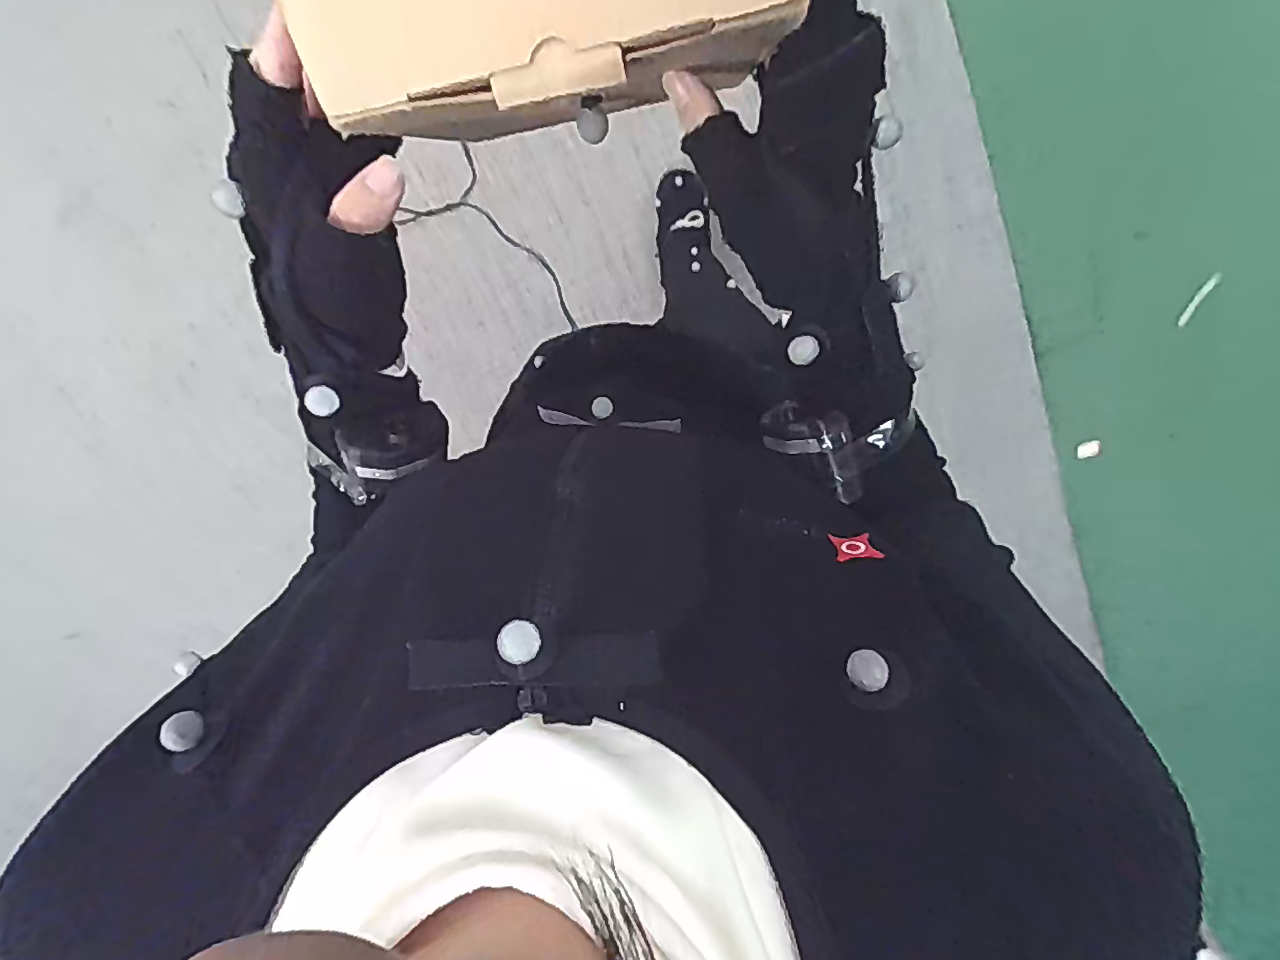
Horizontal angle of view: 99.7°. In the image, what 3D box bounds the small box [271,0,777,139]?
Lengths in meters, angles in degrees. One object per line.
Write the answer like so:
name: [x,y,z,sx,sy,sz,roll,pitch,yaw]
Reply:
small box: [-0.045,-0.250,0.211,0.168,0.176,0.179,-8,120,7]
